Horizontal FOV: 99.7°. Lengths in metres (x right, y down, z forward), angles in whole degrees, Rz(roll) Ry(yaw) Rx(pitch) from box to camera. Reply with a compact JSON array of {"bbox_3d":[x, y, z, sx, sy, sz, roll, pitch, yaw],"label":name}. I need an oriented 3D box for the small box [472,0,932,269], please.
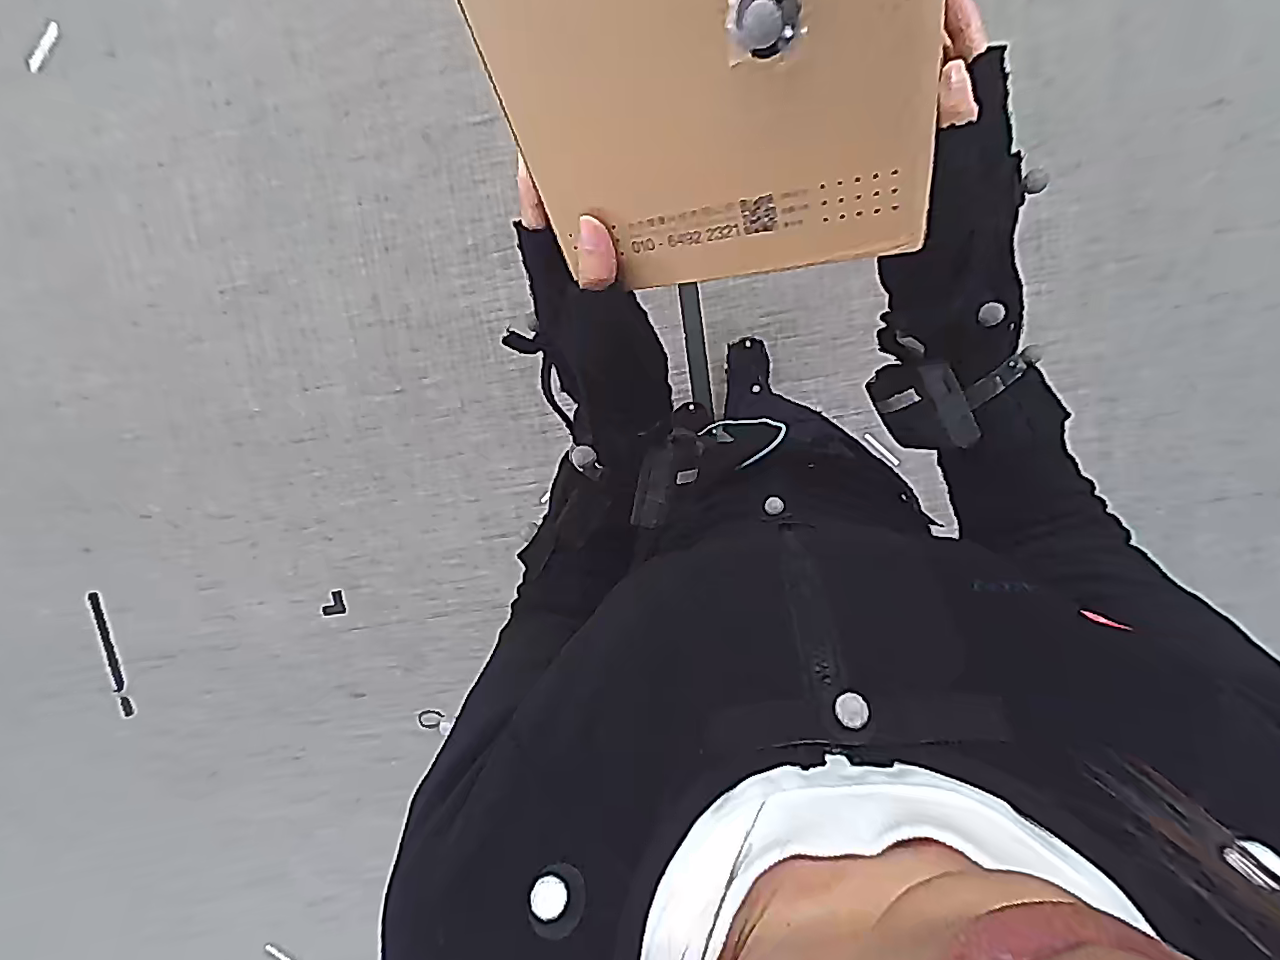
[{"bbox_3d":[0.049,-0.220,0.270,0.168,0.179,0.176,4,137,28],"label":"small box"}]
